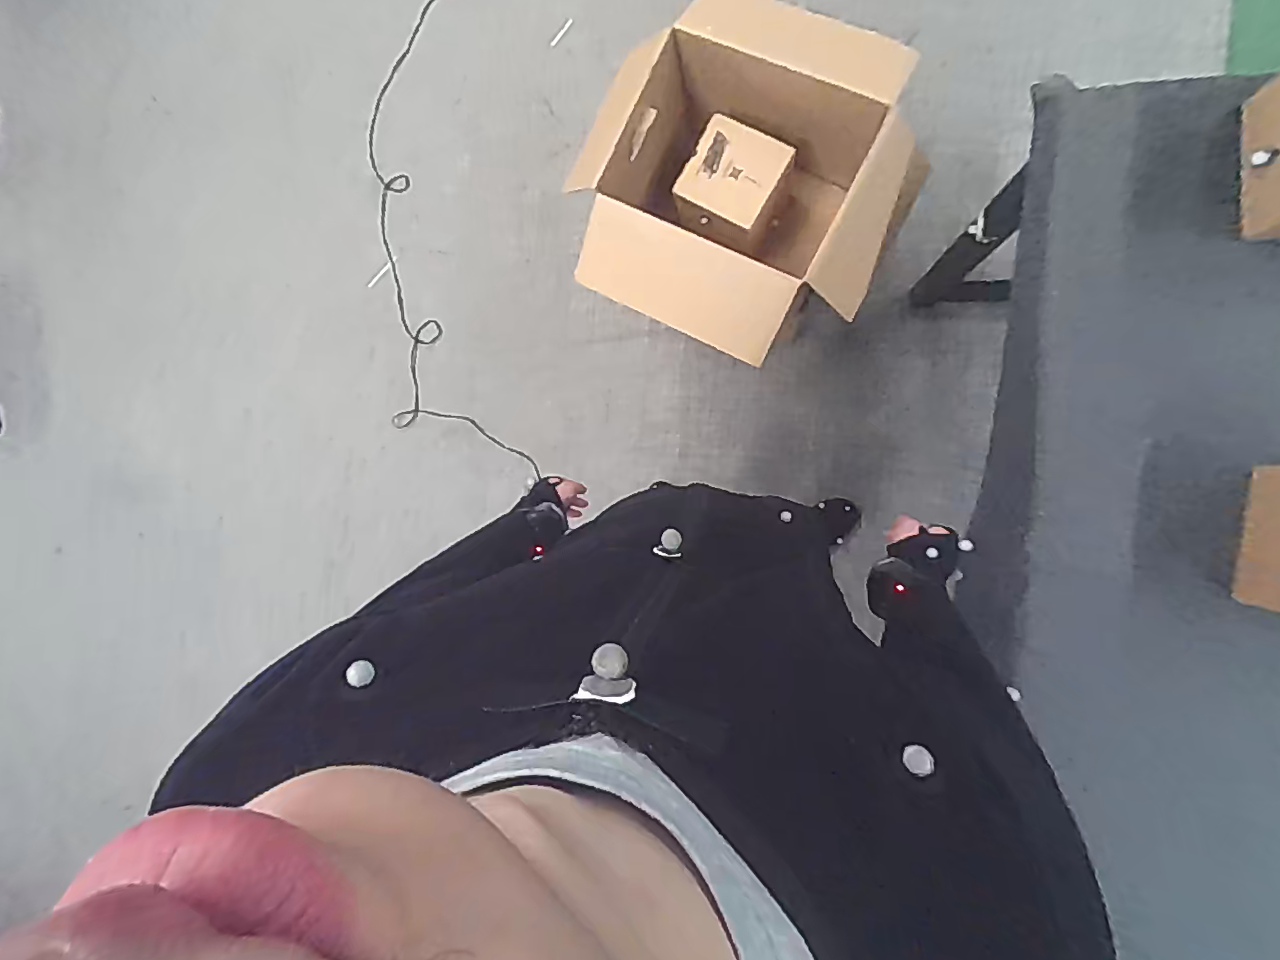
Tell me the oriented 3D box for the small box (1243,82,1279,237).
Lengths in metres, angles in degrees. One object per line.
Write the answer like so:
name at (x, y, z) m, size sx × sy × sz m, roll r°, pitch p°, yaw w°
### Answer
small box at (0.816, -0.378, 0.580) m, size 0.168 × 0.176 × 0.179 m, roll -1°, pitch 92°, yaw 11°

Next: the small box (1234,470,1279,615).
small box at (0.822, 0.084, 0.591) m, size 0.168 × 0.176 × 0.179 m, roll 7°, pitch 91°, yaw 10°
